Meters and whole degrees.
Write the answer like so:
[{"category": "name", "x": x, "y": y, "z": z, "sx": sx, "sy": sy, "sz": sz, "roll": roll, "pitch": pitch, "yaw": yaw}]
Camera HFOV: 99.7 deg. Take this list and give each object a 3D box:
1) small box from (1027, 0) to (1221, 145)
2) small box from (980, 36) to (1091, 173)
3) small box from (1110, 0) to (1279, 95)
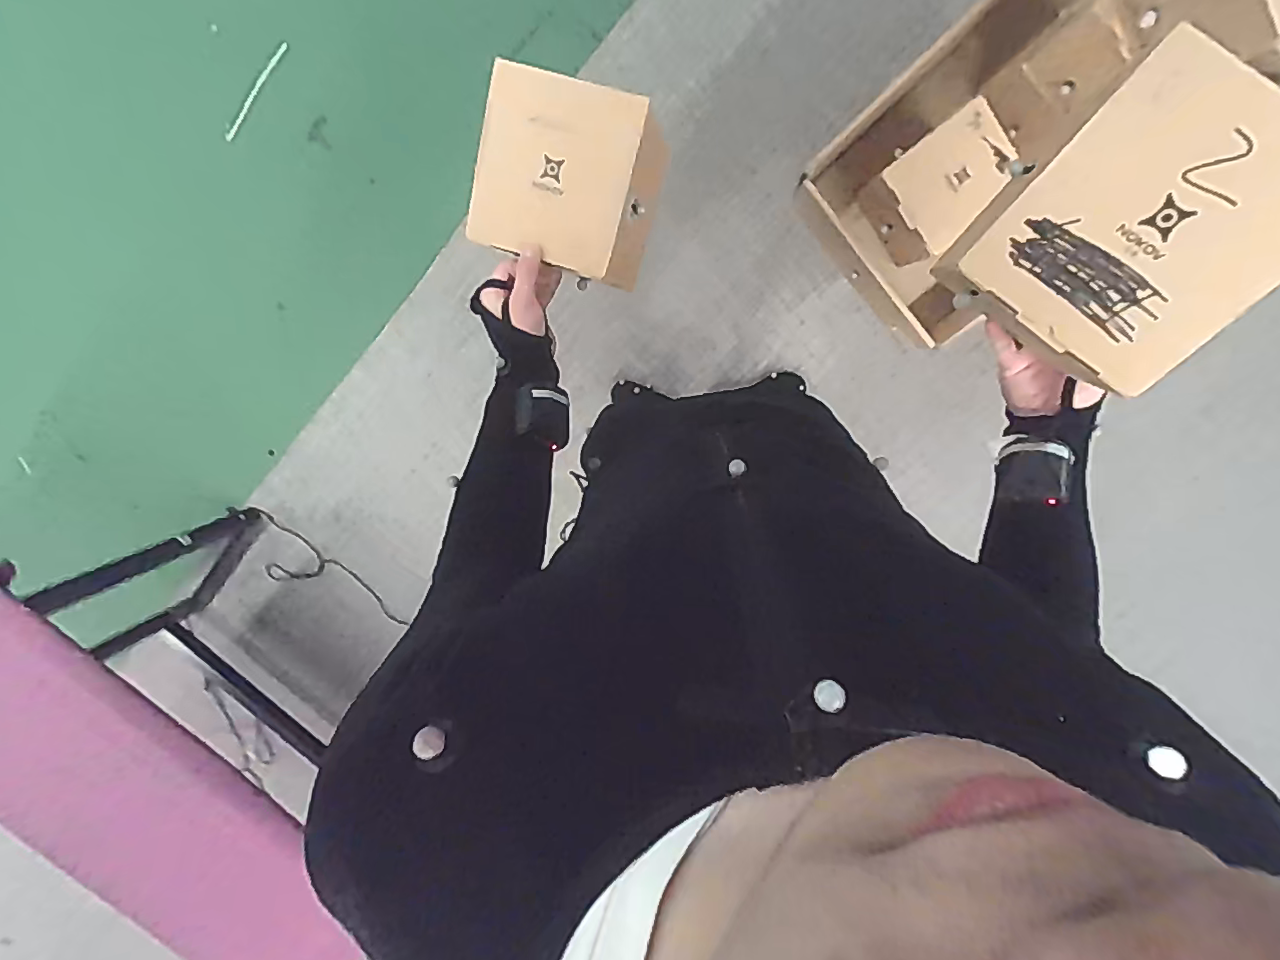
[{"category": "small box", "x": 0.678, "y": -0.597, "z": 0.721, "sx": 0.179, "sy": 0.176, "sz": 0.168, "roll": -41, "pitch": 97, "yaw": 17}, {"category": "small box", "x": 0.704, "y": -0.642, "z": 0.874, "sx": 0.179, "sy": 0.176, "sz": 0.168, "roll": -41, "pitch": 96, "yaw": 17}, {"category": "small box", "x": 0.655, "y": -0.559, "z": 0.563, "sx": 0.179, "sy": 0.176, "sz": 0.168, "roll": -31, "pitch": 99, "yaw": 17}]
